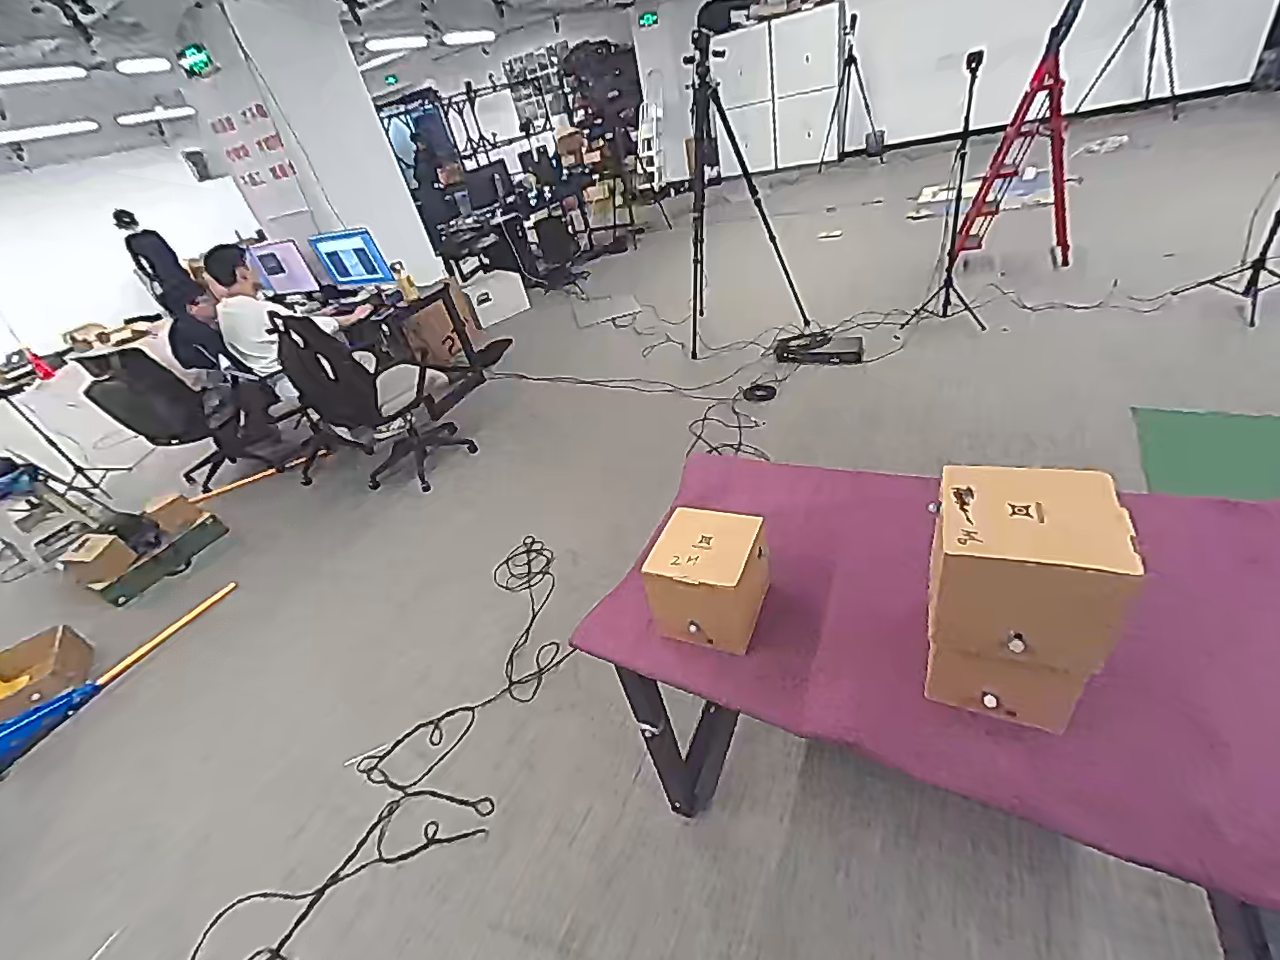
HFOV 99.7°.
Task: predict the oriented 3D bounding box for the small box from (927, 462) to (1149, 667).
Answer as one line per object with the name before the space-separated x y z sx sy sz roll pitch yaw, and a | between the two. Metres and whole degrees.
small box | 0.455 0.099 0.650 0.179 0.176 0.168 5 40 26

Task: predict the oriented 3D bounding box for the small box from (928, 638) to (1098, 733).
small box | 0.509 0.212 0.759 0.168 0.176 0.179 7 41 29

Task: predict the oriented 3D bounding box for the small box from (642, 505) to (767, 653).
small box | 0.123 0.170 0.955 0.168 0.176 0.179 6 39 27
